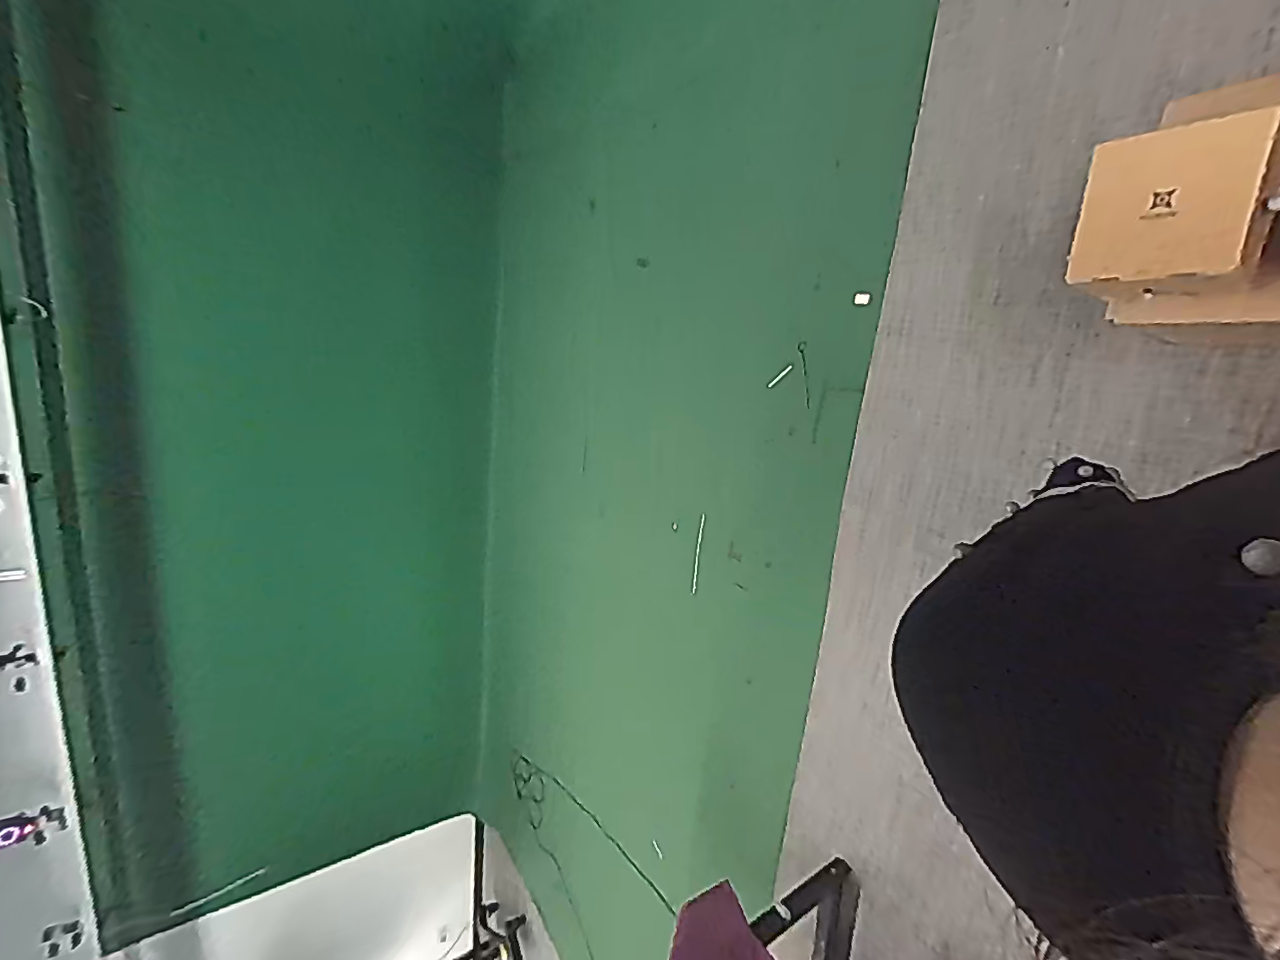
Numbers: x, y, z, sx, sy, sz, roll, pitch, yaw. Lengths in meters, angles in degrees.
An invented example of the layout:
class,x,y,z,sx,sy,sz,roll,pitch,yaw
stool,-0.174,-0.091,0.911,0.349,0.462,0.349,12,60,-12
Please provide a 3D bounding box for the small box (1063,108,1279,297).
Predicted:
class,x,y,z,sx,sy,sz,roll,pitch,yaw
small box,0.706,-0.347,0.718,0.168,0.176,0.179,20,111,51
